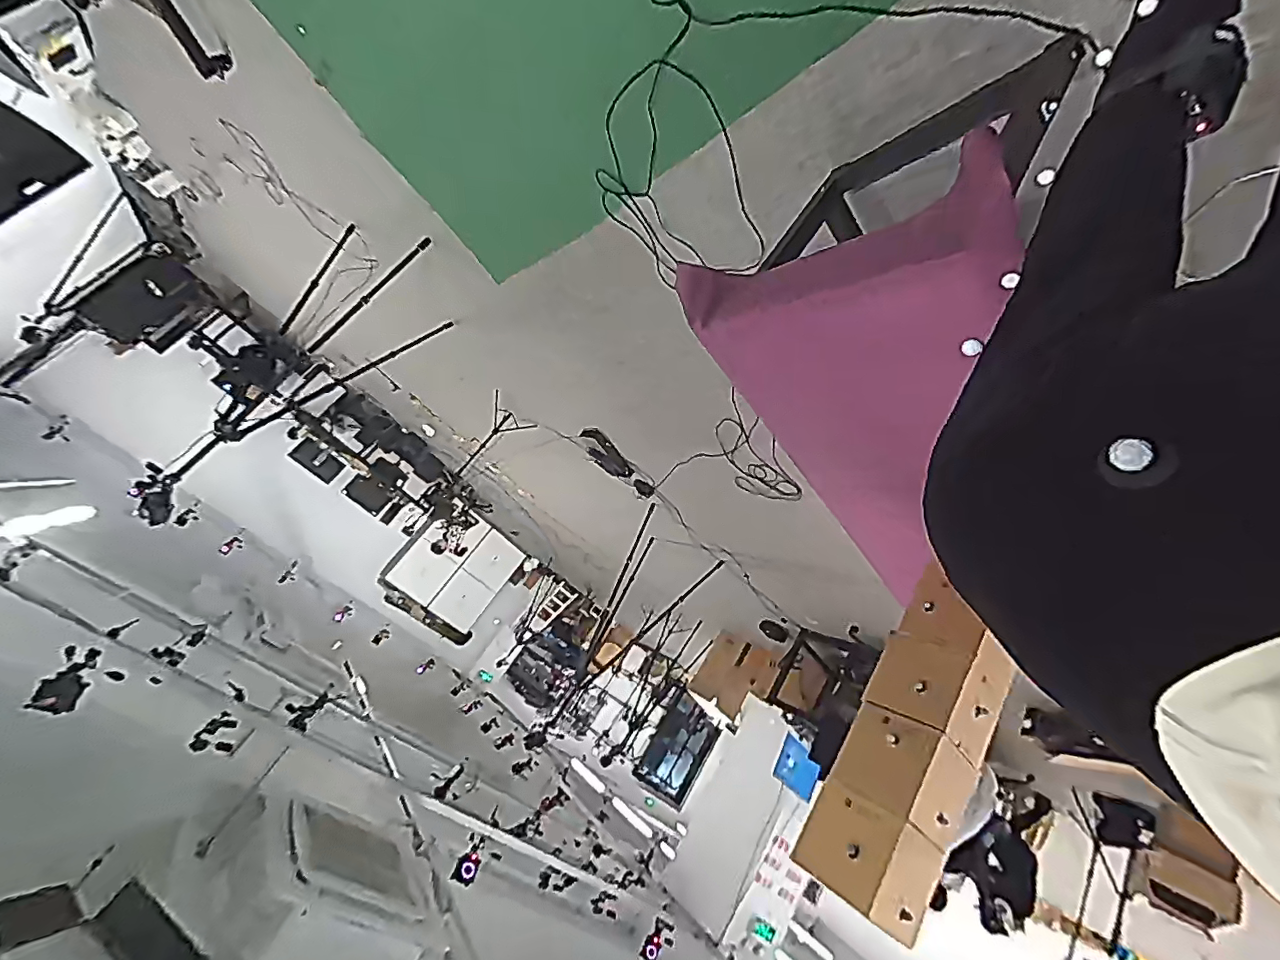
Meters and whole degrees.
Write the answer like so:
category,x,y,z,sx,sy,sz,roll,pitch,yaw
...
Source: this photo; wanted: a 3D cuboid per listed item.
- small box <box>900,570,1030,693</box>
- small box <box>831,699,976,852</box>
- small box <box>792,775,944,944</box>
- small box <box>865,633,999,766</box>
category,x,y,z,sx,sy,sz,roll,pitch,yaw
small box,0.698,0.315,1.158,0.179,0.176,0.168,46,158,-25
small box,0.514,0.560,1.045,0.179,0.176,0.168,47,157,-24
small box,0.418,0.680,0.990,0.179,0.176,0.168,46,158,-24
small box,0.604,0.437,1.106,0.168,0.176,0.179,47,157,-24
